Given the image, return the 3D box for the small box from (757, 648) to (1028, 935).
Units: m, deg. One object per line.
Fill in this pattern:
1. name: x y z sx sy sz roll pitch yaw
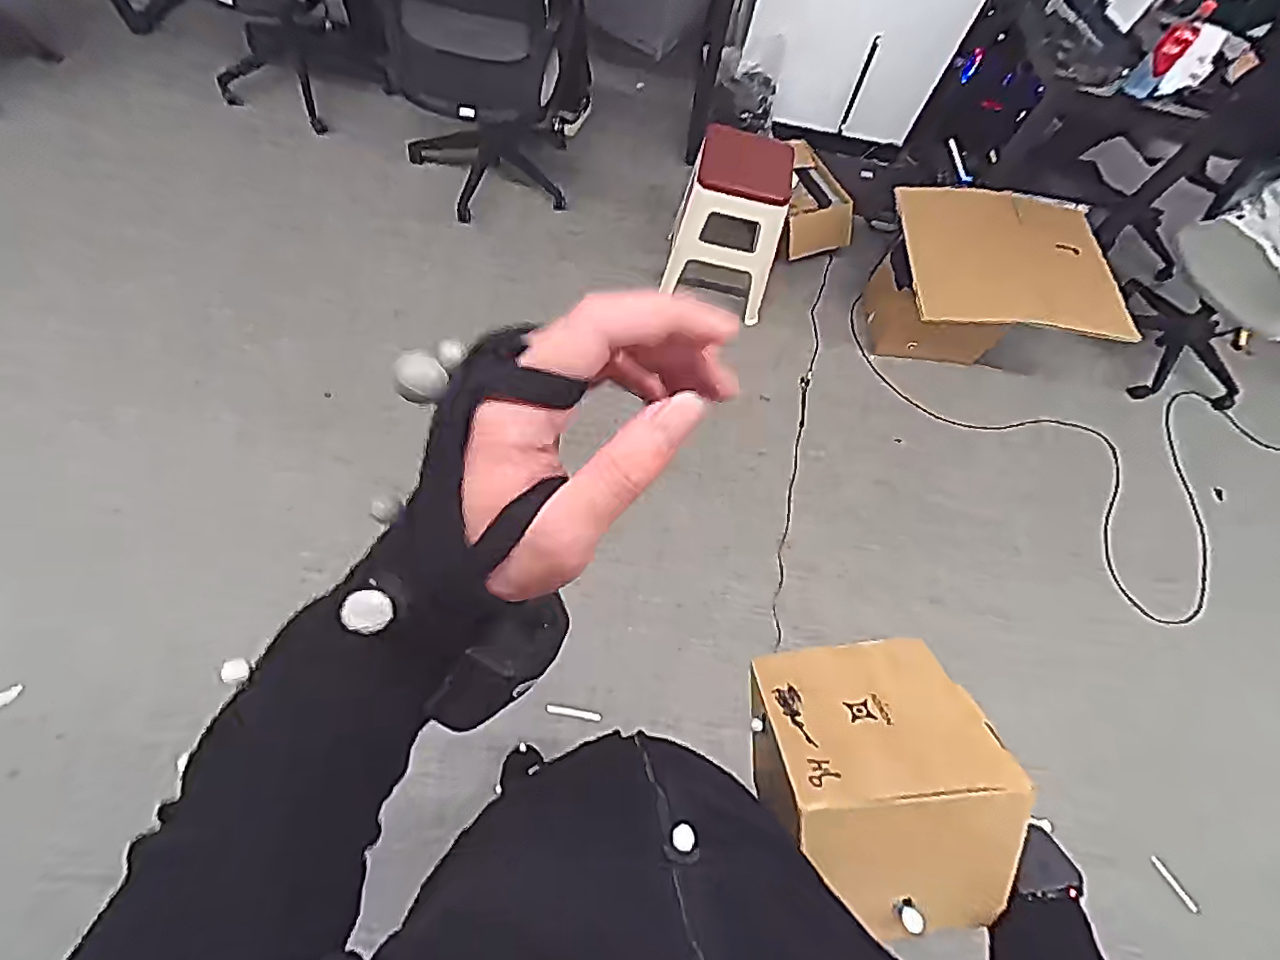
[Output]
1. small box: 0.214 0.286 0.513 0.179 0.176 0.168 -6 22 0
